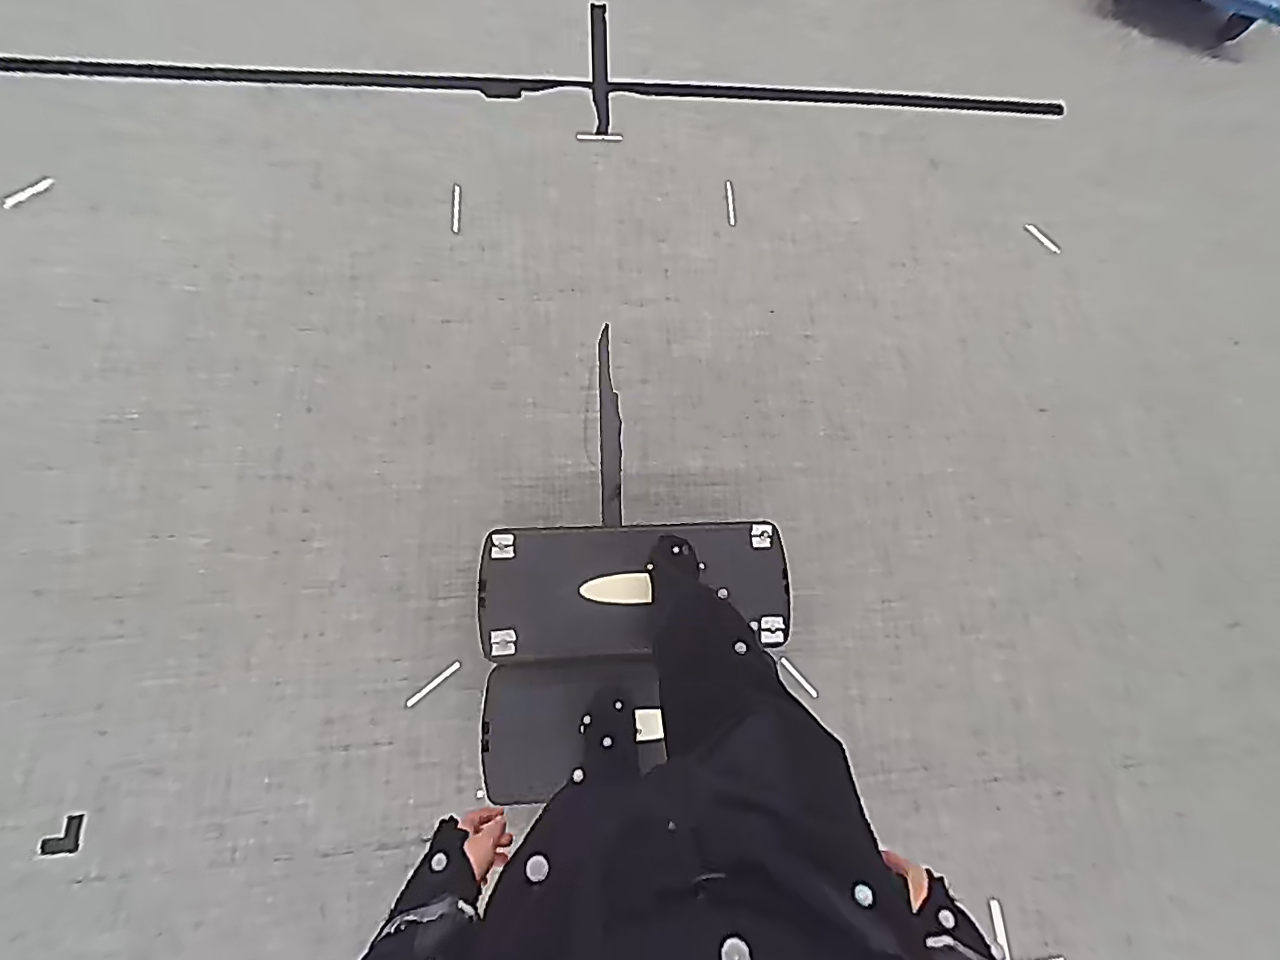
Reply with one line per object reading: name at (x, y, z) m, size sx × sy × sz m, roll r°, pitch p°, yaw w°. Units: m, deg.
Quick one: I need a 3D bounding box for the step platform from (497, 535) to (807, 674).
step platform at (0.027, 0.285, 1.229) m, size 0.684 × 0.204 × 0.286 m, roll 3°, pitch 74°, yaw -6°
